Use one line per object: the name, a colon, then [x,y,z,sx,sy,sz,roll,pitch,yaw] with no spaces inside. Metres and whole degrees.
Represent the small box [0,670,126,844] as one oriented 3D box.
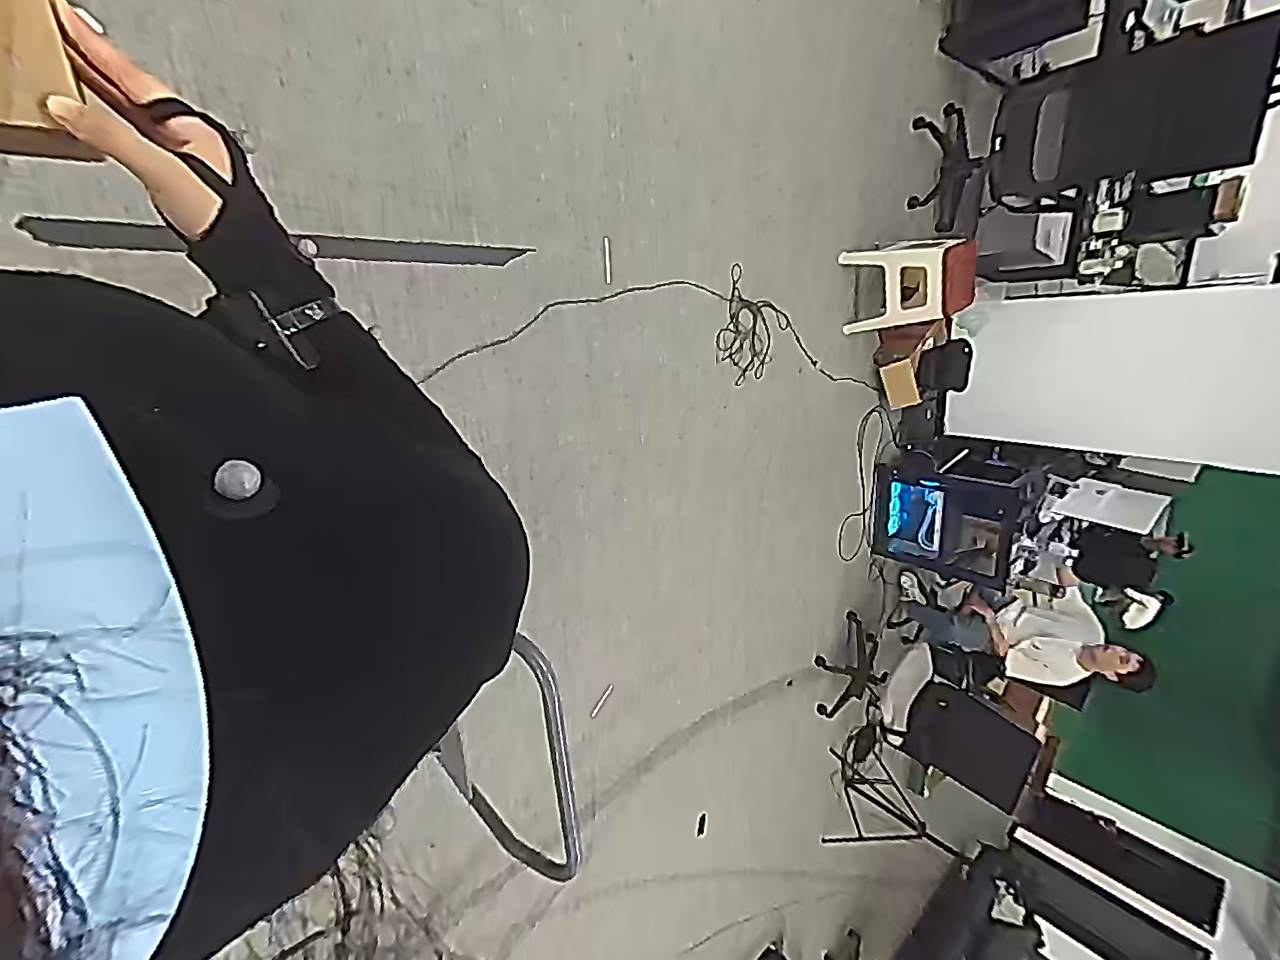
small box: [-0.998,0.457,0.912,0.168,0.176,0.179,-13,109,-39]
